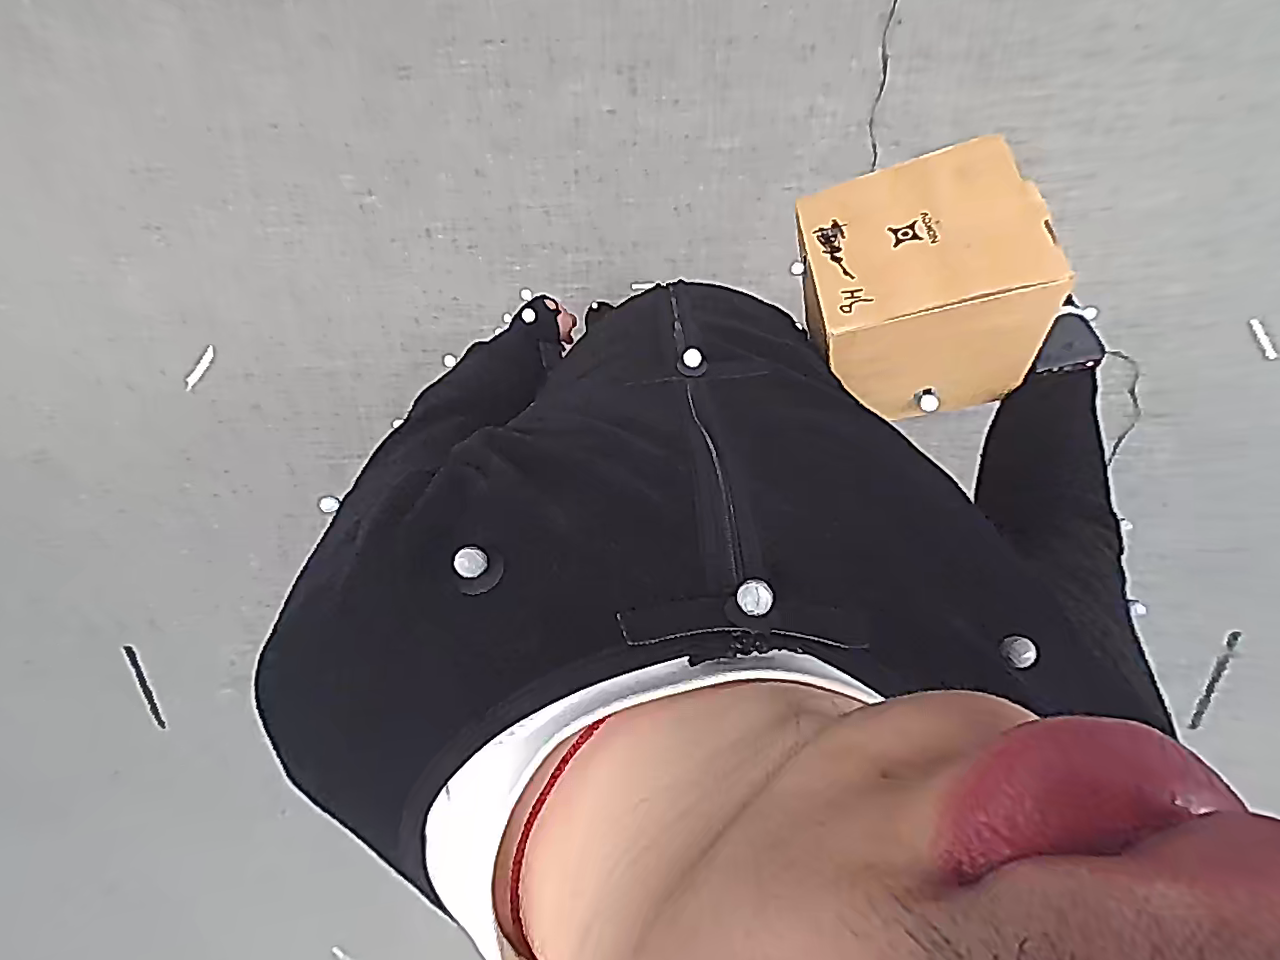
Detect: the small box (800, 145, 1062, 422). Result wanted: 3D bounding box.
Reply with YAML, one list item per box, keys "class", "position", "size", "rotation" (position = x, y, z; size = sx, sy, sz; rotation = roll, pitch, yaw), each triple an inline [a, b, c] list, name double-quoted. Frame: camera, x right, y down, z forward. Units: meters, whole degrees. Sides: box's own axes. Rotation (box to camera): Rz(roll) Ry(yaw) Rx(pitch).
- class: "small box"
  position: [0.264, -0.179, 0.538]
  size: [0.179, 0.168, 0.176]
  rotation: [-11, 153, 16]
